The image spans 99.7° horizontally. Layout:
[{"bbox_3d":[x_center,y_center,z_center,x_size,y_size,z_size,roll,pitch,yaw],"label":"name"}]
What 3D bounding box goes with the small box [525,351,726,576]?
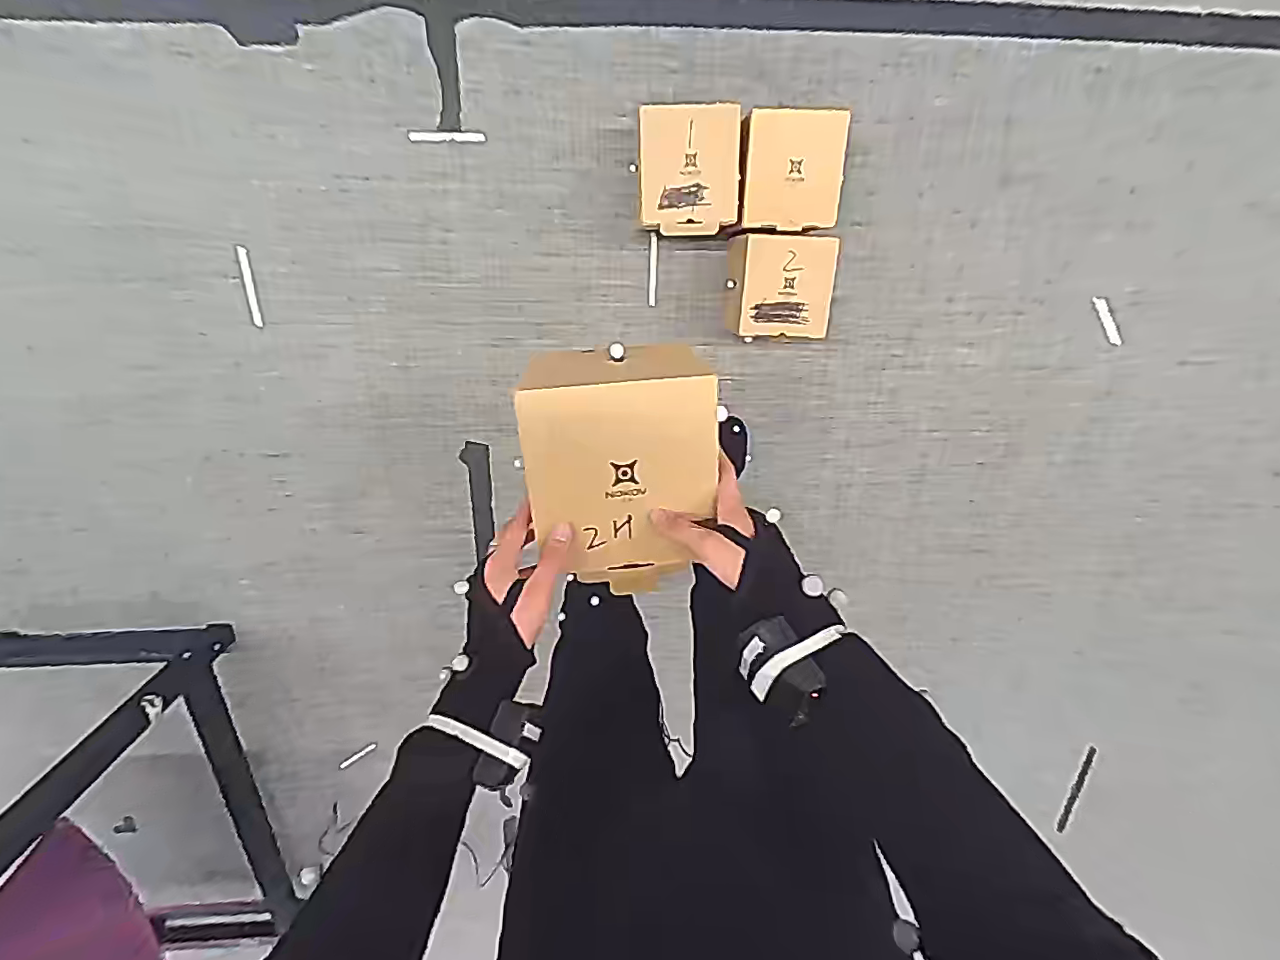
[{"bbox_3d":[-0.016,-0.029,0.534,0.168,0.176,0.179,-4,114,-3],"label":"small box"}]
